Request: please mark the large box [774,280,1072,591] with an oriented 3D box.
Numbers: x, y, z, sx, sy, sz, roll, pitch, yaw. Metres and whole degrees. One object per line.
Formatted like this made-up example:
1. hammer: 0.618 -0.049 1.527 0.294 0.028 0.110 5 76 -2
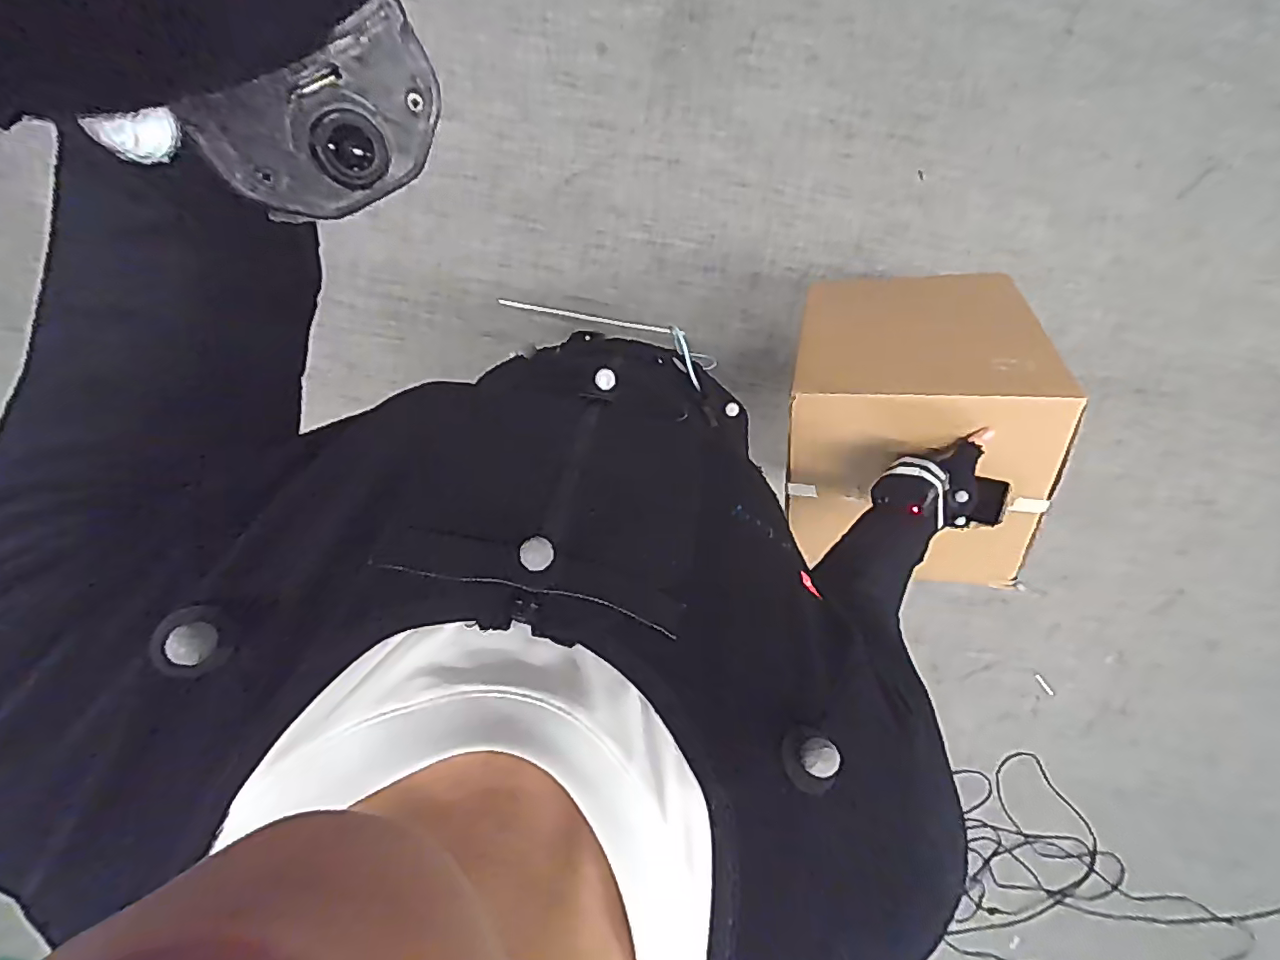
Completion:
1. large box: 0.402 -0.097 0.862 0.320 0.408 0.320 6 130 19
